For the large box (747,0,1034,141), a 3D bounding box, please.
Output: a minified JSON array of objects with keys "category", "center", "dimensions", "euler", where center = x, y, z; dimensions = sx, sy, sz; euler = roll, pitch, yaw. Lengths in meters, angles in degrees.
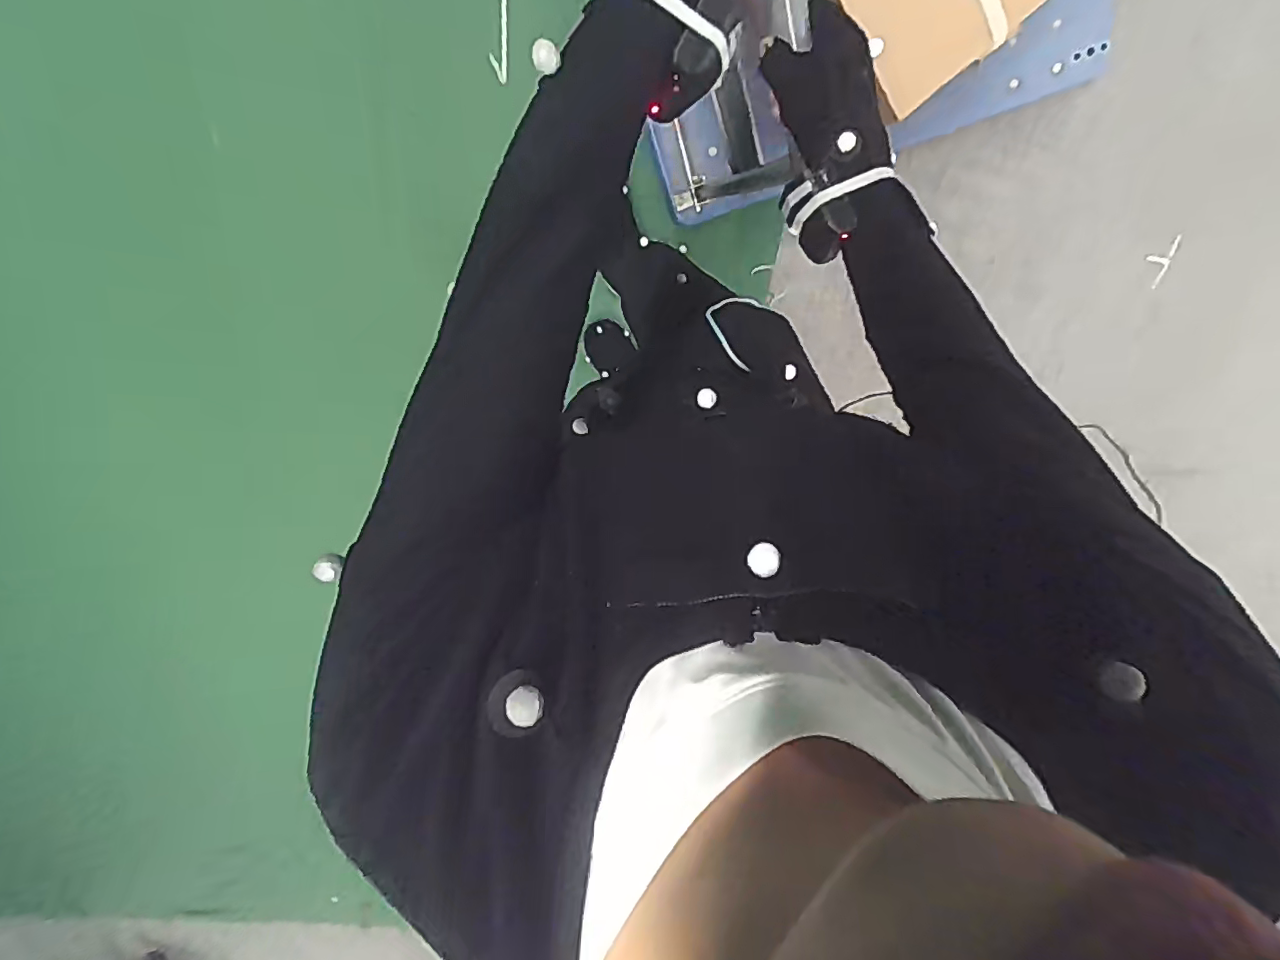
[{"category":"large box","center":[0.360,-0.814,0.810],"dimensions":[0.320,0.320,0.408],"euler":[-36,111,13]}]
